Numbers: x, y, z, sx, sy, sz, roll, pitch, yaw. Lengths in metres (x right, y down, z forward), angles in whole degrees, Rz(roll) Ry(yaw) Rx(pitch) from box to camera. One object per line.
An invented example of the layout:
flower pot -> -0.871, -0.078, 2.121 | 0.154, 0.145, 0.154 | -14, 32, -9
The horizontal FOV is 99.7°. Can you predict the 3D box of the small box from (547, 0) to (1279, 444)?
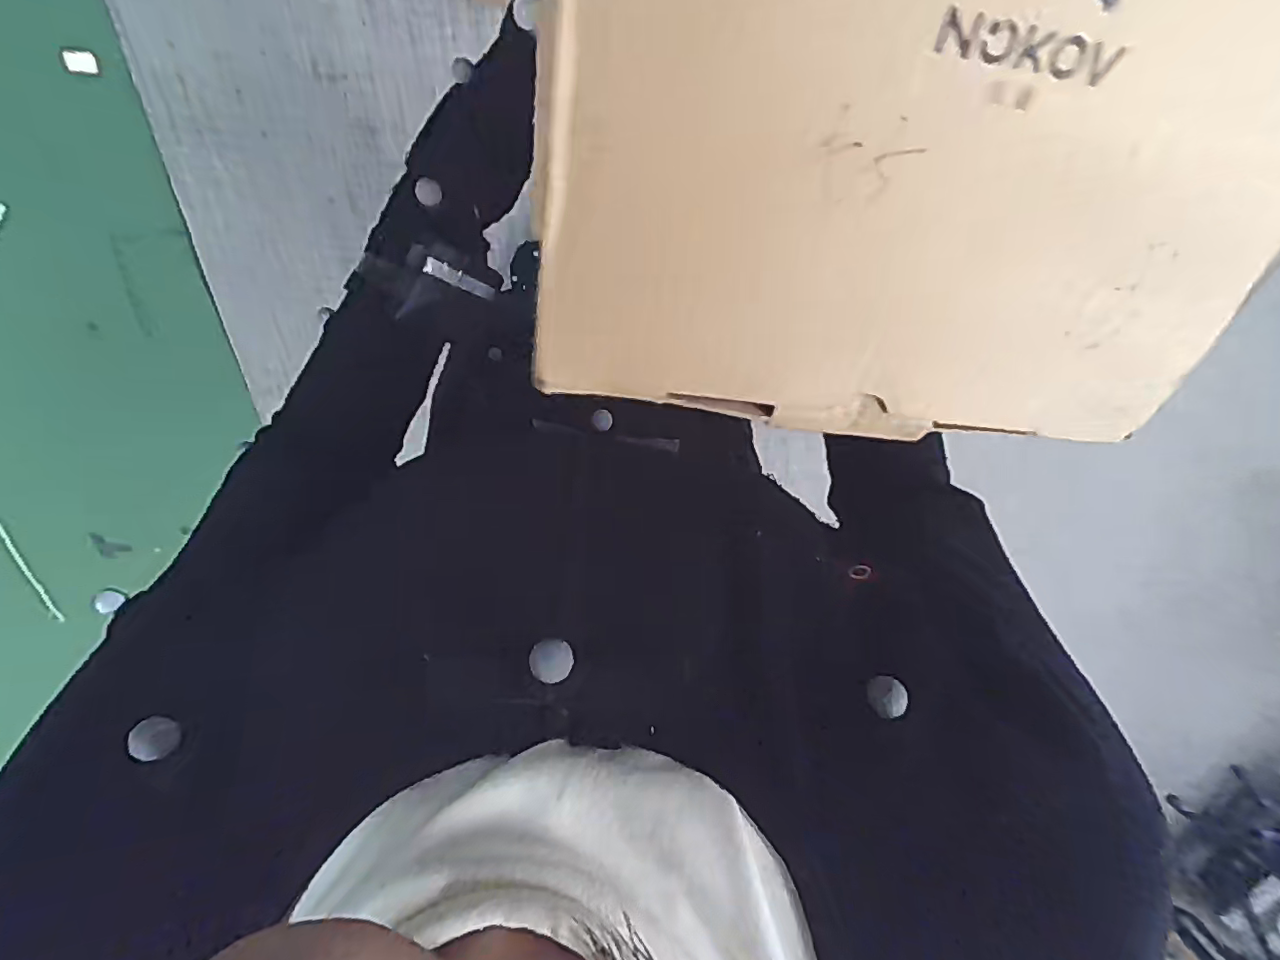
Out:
small box -> 0.063, -0.133, 0.164 | 0.168, 0.176, 0.179 | 3, 127, -11
